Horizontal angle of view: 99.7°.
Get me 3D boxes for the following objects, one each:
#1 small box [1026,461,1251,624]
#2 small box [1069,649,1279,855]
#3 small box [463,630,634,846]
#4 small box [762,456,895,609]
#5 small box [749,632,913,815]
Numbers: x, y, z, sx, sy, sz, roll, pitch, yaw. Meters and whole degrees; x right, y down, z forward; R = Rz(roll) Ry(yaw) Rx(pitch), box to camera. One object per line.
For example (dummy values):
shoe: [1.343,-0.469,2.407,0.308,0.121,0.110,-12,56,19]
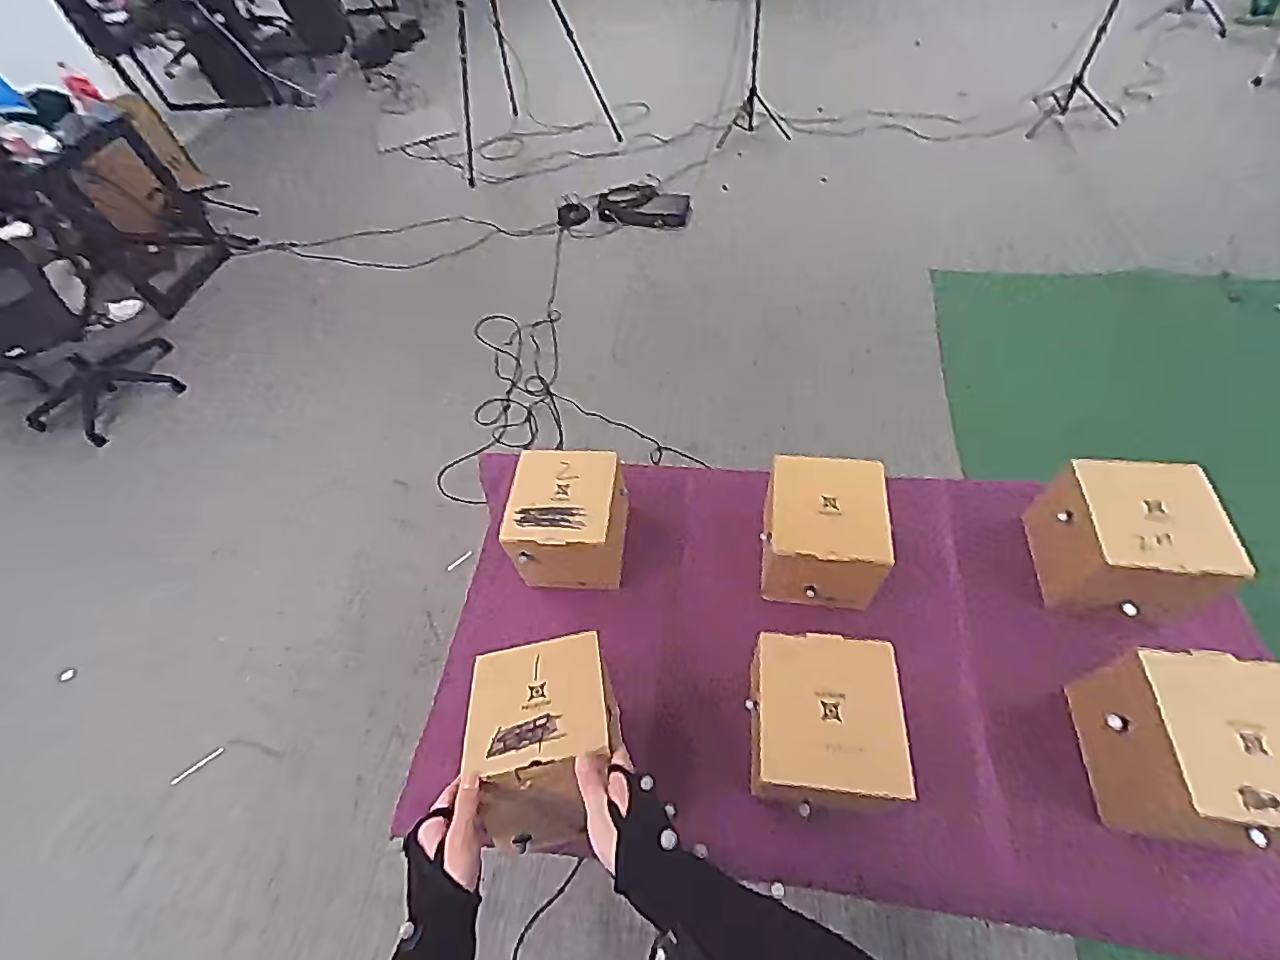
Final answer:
small box: [0.713,0.094,0.805,0.168,0.176,0.179,4,56,12]
small box: [0.664,0.327,0.648,0.168,0.176,0.179,5,54,10]
small box: [-0.108,0.327,0.683,0.168,0.176,0.179,-12,31,-3]
small box: [0.288,0.085,0.862,0.168,0.176,0.179,5,57,9]
small box: [0.232,0.318,0.703,0.168,0.176,0.179,3,55,9]
